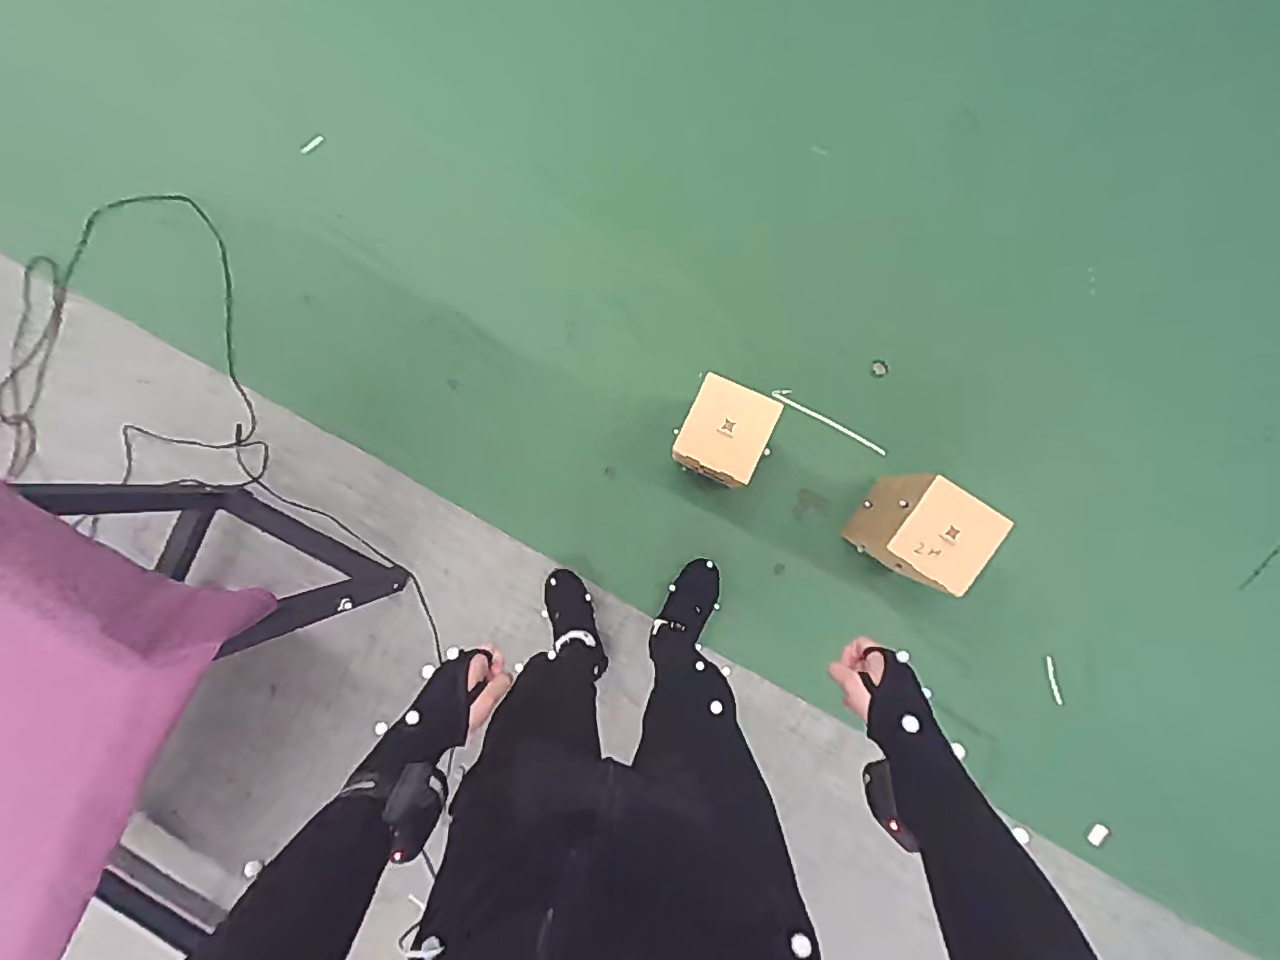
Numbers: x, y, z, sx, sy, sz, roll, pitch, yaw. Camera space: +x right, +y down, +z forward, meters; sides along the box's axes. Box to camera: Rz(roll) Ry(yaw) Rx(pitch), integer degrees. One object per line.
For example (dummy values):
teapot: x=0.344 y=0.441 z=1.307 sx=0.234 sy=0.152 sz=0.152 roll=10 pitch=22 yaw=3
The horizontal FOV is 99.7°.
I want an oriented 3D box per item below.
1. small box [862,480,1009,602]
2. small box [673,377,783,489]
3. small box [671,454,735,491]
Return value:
small box: x=0.585 y=0.116 z=1.101 sx=0.168 sy=0.176 sz=0.179 roll=35 pitch=93 yaw=5
small box: x=0.178 y=-0.093 z=1.148 sx=0.168 sy=0.176 sz=0.179 roll=25 pitch=92 yaw=5
small box: x=0.188 y=-0.084 z=1.310 sx=0.168 sy=0.176 sz=0.179 roll=26 pitch=91 yaw=6
